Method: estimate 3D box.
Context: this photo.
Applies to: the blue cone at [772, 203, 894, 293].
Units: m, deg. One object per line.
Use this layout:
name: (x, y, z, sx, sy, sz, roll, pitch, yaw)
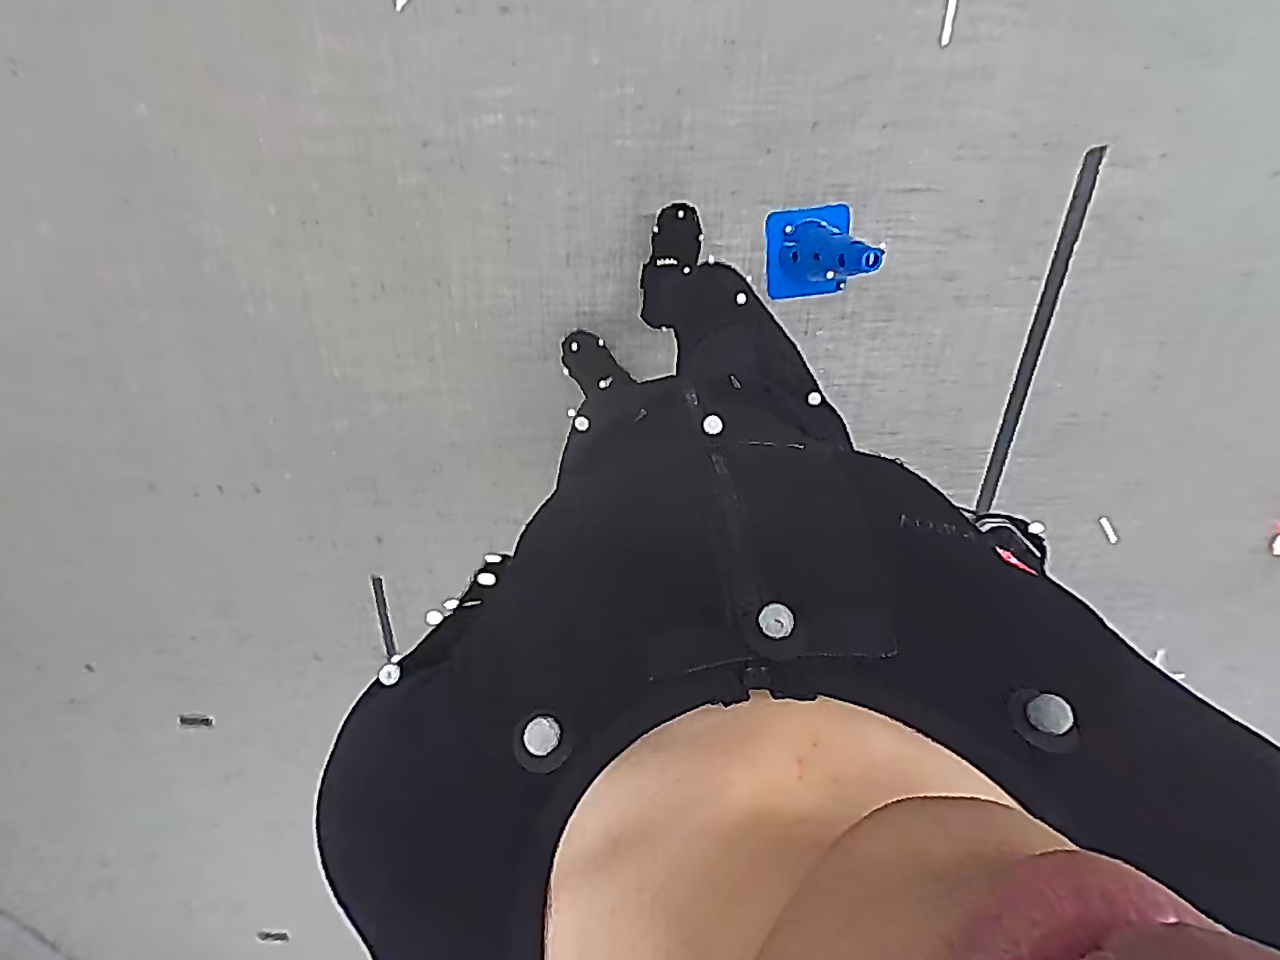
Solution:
blue cone: (0.422, -0.485, 1.151, 0.192, 0.380, 0.193, -6, 114, -1)
